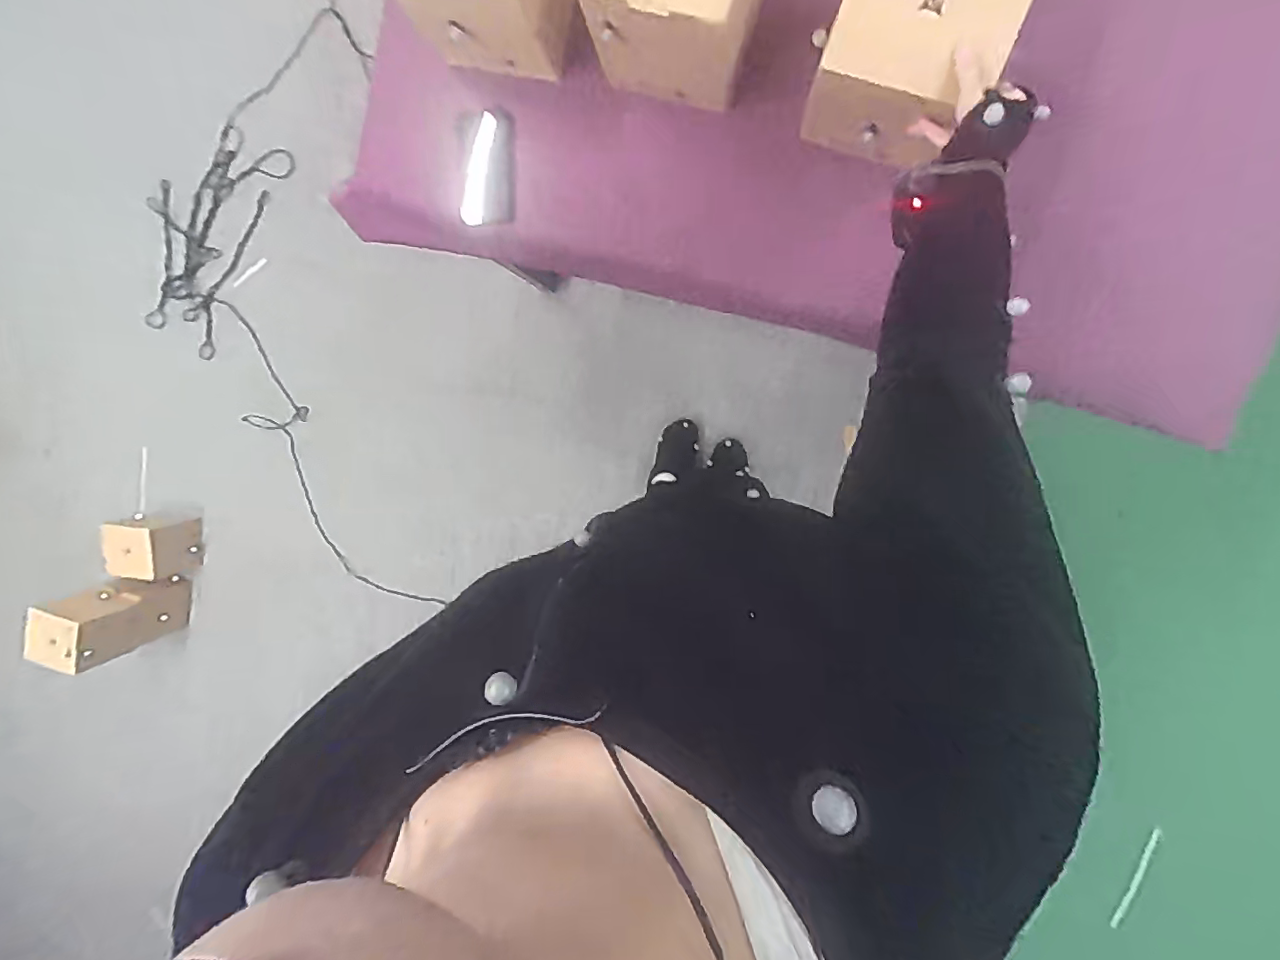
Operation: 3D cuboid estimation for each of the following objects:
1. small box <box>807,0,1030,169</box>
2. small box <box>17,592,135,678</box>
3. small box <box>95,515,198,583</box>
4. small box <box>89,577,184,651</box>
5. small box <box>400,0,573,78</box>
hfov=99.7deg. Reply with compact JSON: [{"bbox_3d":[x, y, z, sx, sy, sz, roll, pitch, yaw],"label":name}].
[{"bbox_3d":[0.292,-0.471,0.582,0.168,0.176,0.179,21,102,5],"label":"small box"},{"bbox_3d":[-1.650,0.444,1.586,0.179,0.176,0.168,16,100,8],"label":"small box"},{"bbox_3d":[-1.553,0.211,1.709,0.179,0.176,0.168,5,99,8],"label":"small box"},{"bbox_3d":[-1.623,0.417,1.746,0.168,0.176,0.179,15,100,8],"label":"small box"},{"bbox_3d":[-0.181,-0.626,0.645,0.168,0.176,0.179,14,98,7],"label":"small box"}]
